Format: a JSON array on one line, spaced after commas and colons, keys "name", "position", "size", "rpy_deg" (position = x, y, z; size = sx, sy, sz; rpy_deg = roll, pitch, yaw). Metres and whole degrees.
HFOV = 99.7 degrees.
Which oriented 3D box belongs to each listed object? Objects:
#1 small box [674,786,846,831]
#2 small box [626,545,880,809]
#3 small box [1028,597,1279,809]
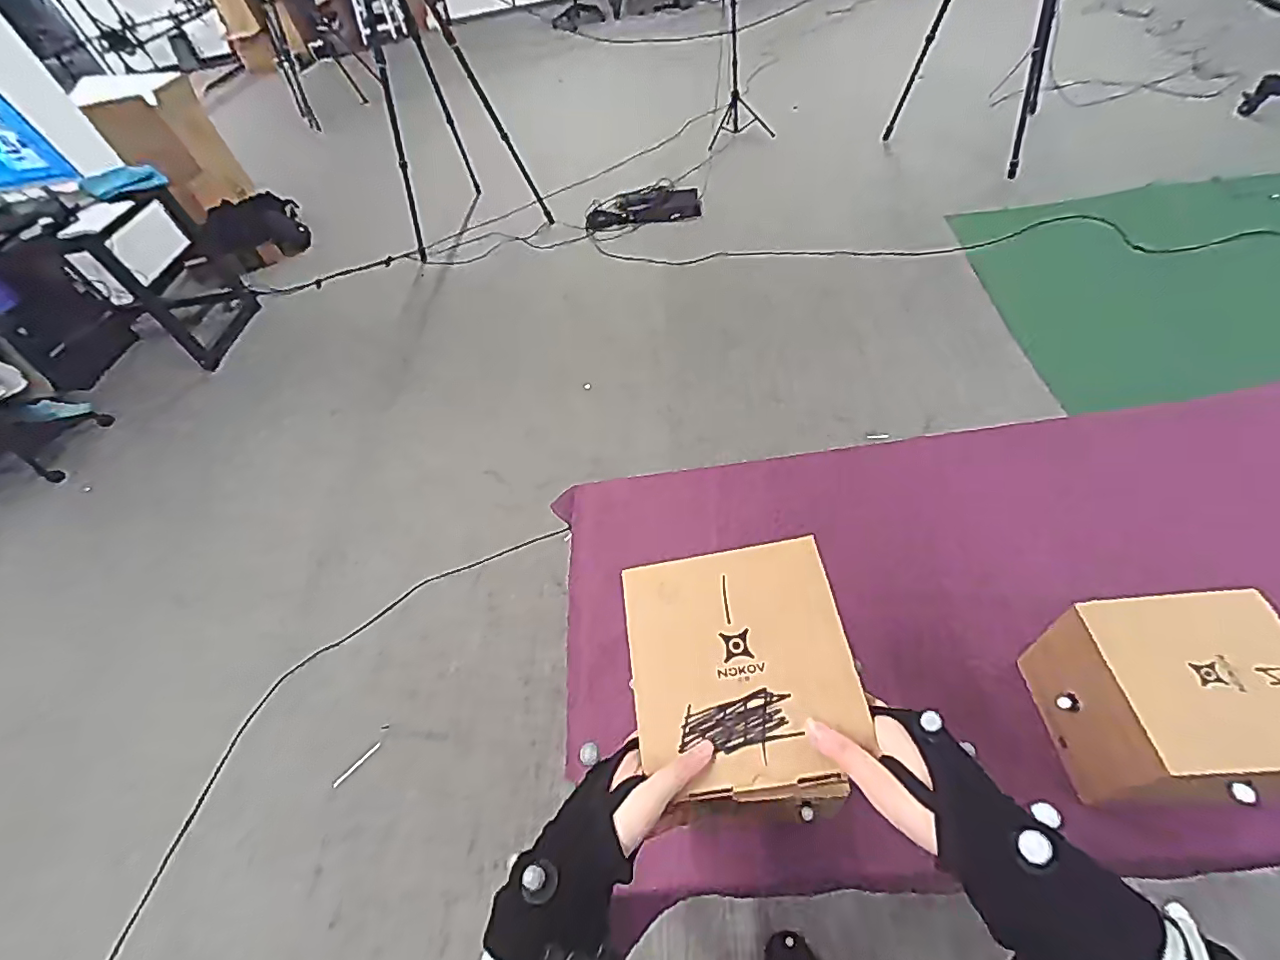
[{"name": "small box", "position": [0.118, 0.293, 0.621], "size": [0.179, 0.176, 0.168], "rpy_deg": [-7, 50, 5]}, {"name": "small box", "position": [0.089, 0.182, 0.479], "size": [0.168, 0.176, 0.179], "rpy_deg": [-11, 56, 5]}, {"name": "small box", "position": [0.553, 0.241, 0.574], "size": [0.179, 0.176, 0.168], "rpy_deg": [-6, 51, 7]}]
